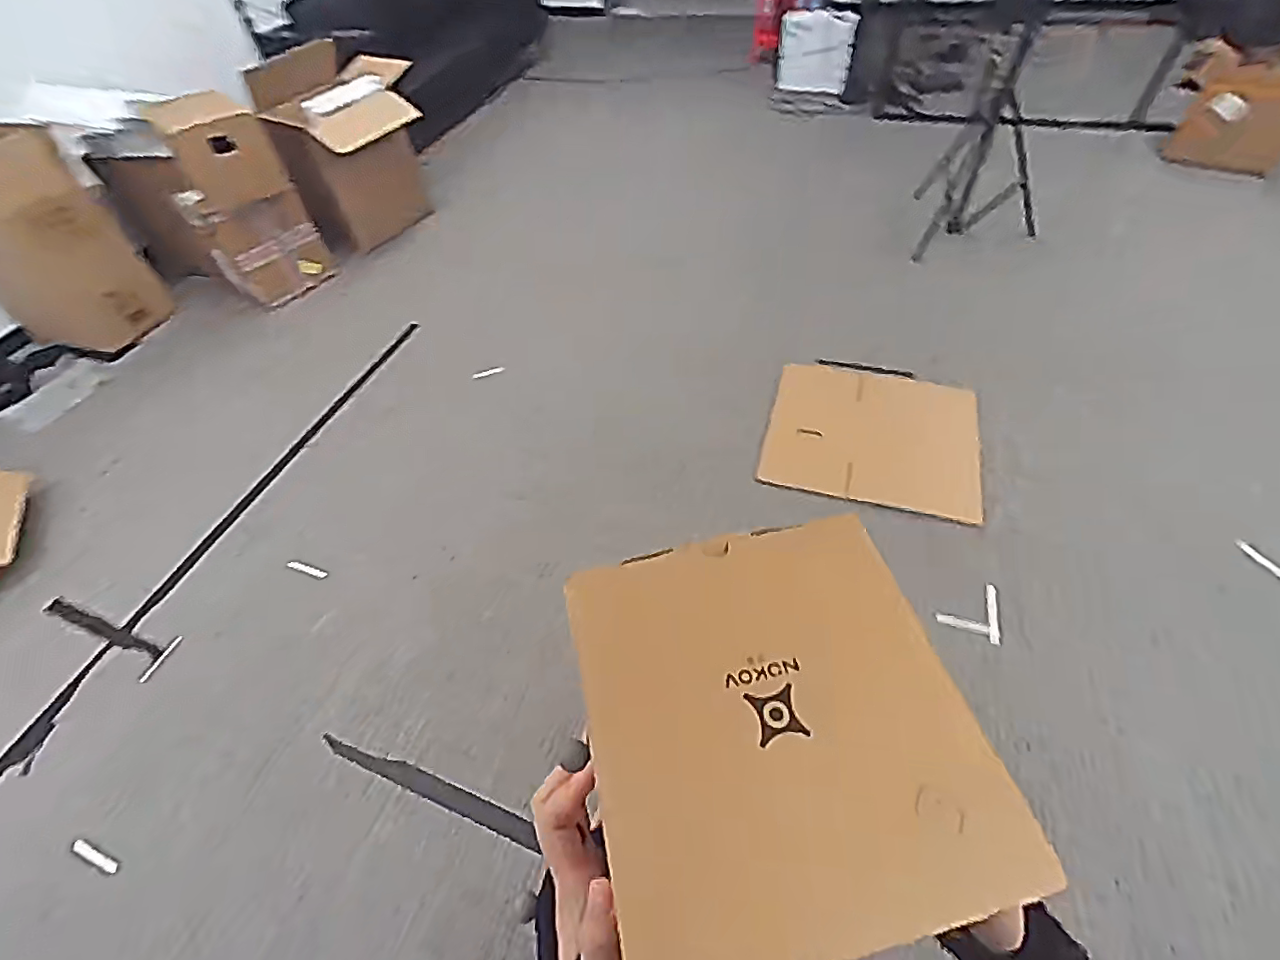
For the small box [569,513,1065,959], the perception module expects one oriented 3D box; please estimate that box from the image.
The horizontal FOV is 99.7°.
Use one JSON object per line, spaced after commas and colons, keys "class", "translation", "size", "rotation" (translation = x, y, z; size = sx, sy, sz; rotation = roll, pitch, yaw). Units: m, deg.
{"class": "small box", "translation": [0.062, 0.148, 0.301], "size": [0.168, 0.176, 0.179], "rotation": [-11, 52, -6]}
